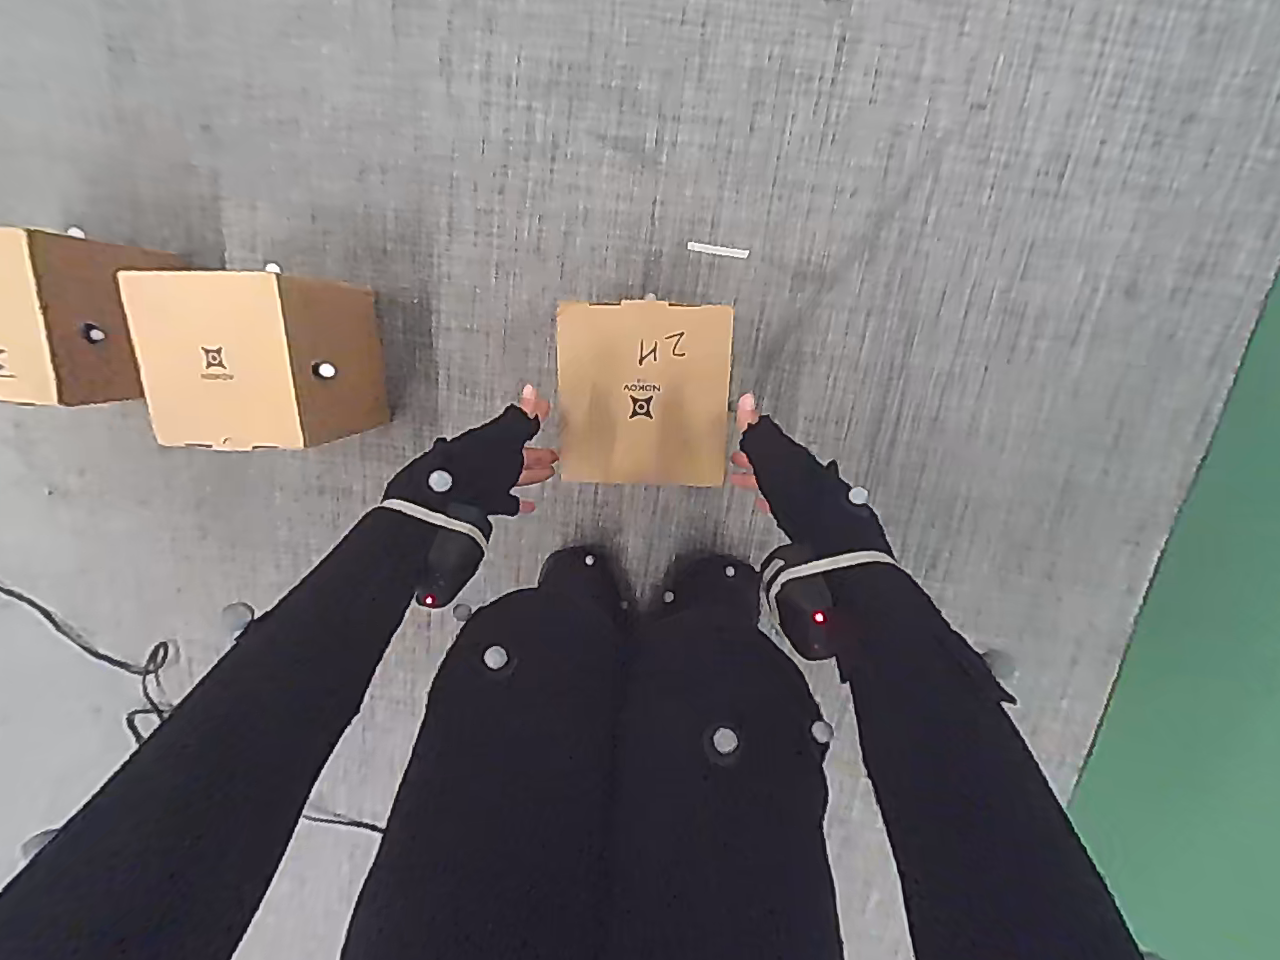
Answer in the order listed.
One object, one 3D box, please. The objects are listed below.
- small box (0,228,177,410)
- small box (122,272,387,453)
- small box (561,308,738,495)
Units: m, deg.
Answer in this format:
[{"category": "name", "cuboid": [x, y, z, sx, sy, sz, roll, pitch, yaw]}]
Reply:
[{"category": "small box", "cuboid": [-0.664, -0.182, 0.619, 0.168, 0.176, 0.179, 5, 104, 3]}, {"category": "small box", "cuboid": [-0.414, -0.135, 0.614, 0.168, 0.176, 0.179, 2, 106, 4]}, {"category": "small box", "cuboid": [0.011, -0.093, 0.593, 0.168, 0.176, 0.179, 2, 105, 2]}]
